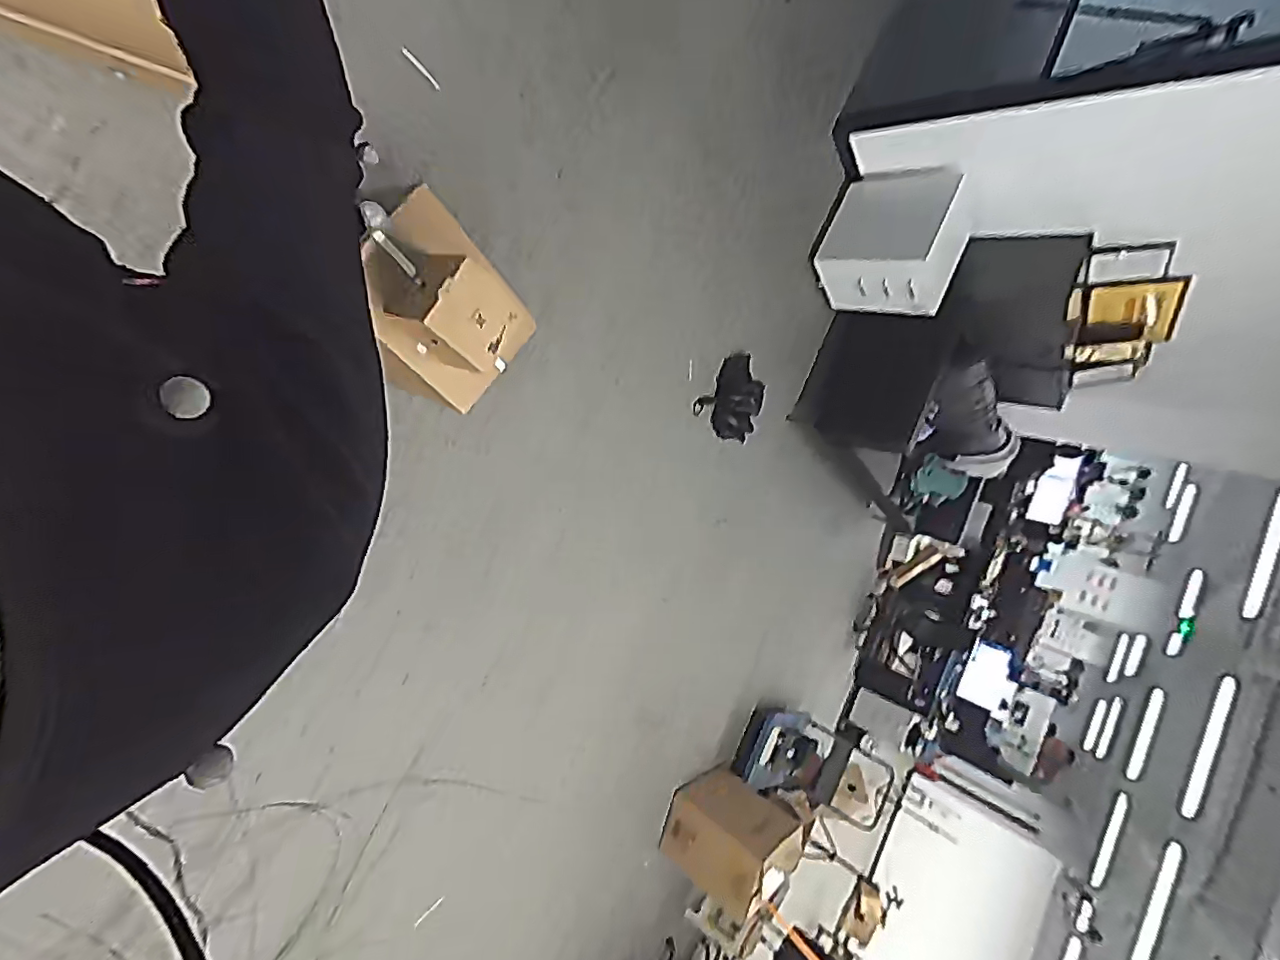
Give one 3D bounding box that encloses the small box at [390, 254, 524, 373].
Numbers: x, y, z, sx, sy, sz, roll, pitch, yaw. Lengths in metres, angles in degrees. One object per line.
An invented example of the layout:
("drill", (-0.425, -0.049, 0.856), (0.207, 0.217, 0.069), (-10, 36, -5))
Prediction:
("small box", (-0.389, -0.348, 1.142), (0.179, 0.176, 0.168), (41, 74, -48))
